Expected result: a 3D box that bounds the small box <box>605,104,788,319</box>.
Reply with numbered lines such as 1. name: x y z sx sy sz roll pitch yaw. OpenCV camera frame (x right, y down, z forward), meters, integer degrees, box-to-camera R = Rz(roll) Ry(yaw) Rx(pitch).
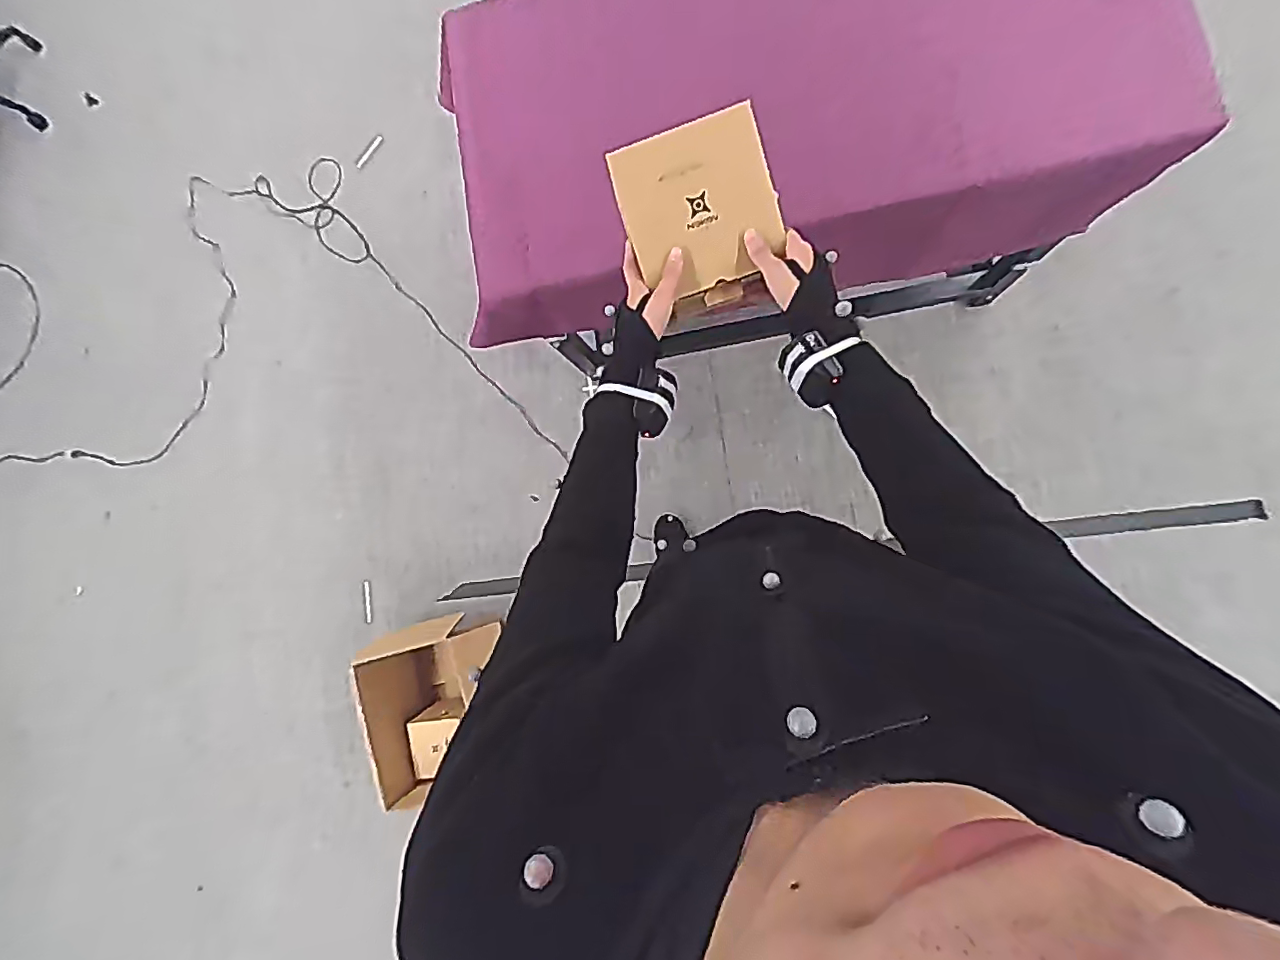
1. small box: 0.068 -0.309 0.670 0.168 0.176 0.179 -18 98 5
